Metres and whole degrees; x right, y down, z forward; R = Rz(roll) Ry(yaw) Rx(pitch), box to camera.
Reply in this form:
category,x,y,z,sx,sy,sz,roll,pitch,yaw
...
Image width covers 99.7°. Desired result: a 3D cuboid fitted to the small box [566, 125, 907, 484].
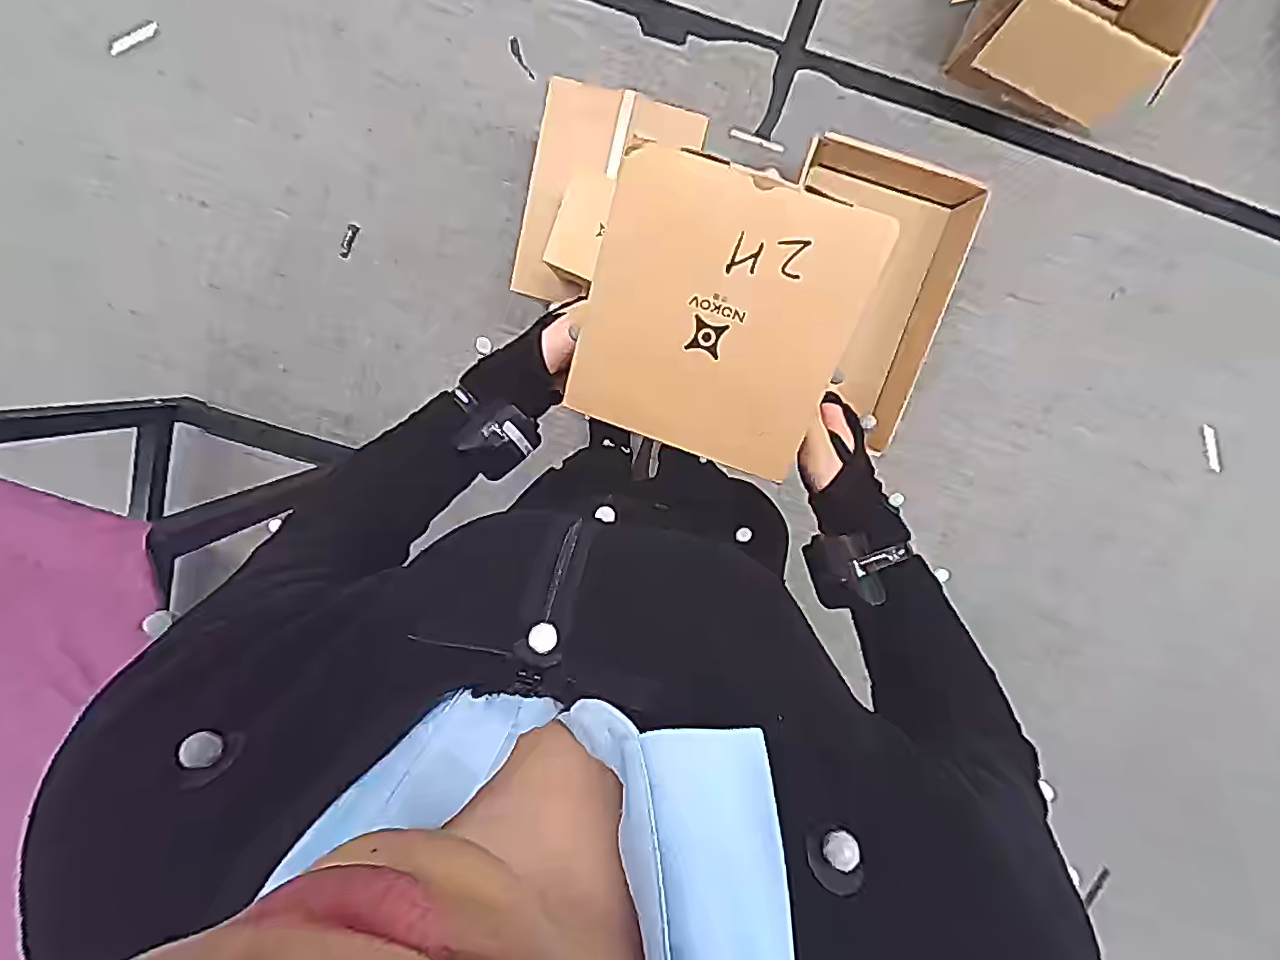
category,x,y,z,sx,sy,sz,roll,pitch,yaw
small box,0.063,-0.128,0.408,0.168,0.176,0.179,20,114,2

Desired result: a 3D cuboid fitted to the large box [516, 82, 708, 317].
category,x,y,z,sx,sy,sz,roll,pitch,yaw
large box,-0.058,-0.566,1.209,0.320,0.320,0.408,15,103,-1
